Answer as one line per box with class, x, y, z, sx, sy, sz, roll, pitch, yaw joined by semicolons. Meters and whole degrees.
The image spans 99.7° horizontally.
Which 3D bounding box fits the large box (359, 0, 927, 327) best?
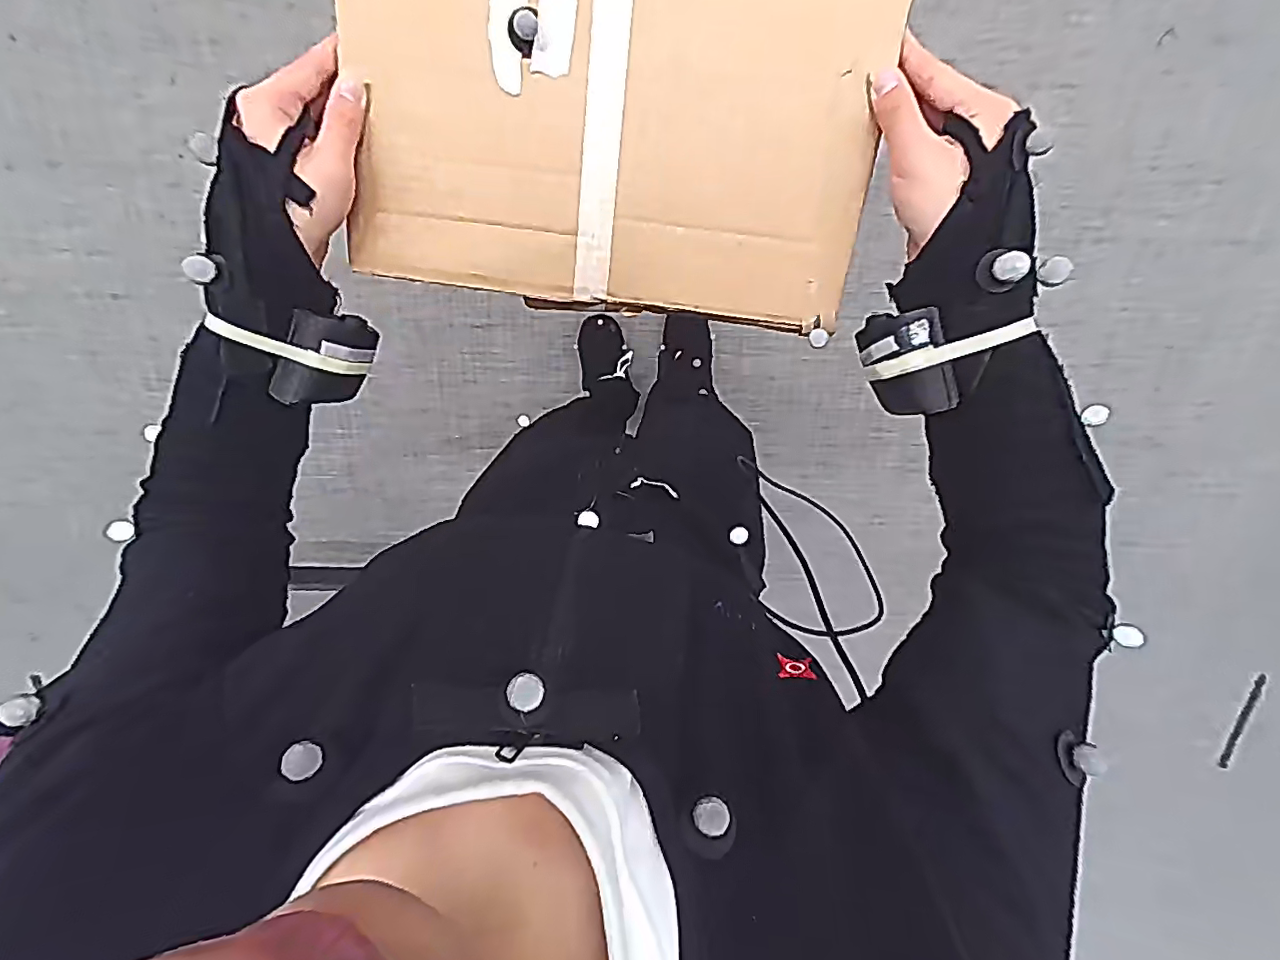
large box;0.009;-0.349;0.416;0.320;0.320;0.408;7;110;1
